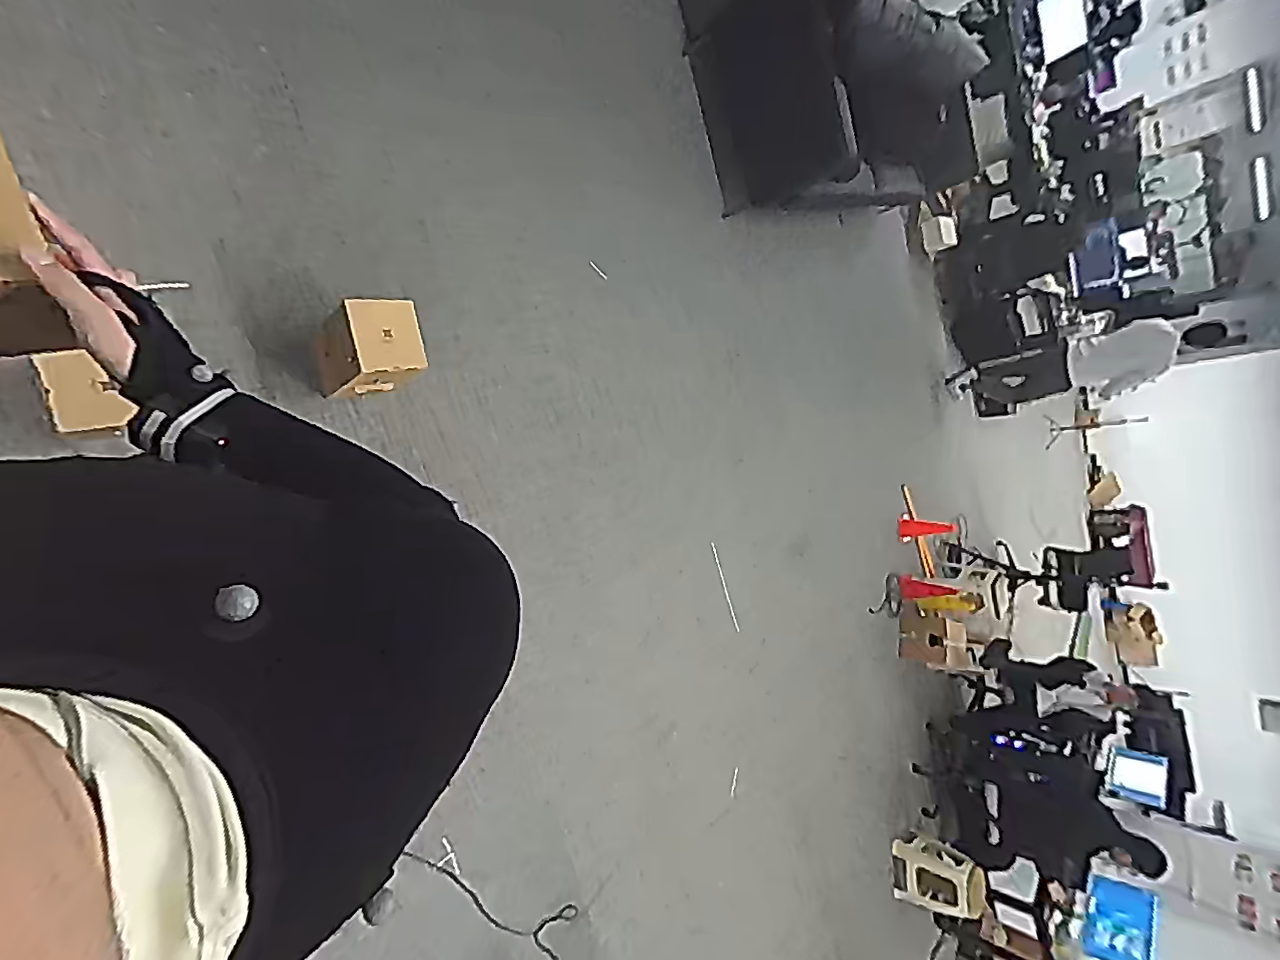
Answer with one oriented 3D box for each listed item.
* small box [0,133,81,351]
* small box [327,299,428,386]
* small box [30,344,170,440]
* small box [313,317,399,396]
[{"bbox_3d":[-0.587,-0.199,0.423,0.168,0.176,0.179,-24,100,-41],"label":"small box"},{"bbox_3d":[-0.672,-0.349,1.378,0.168,0.176,0.179,-17,98,-43],"label":"small box"},{"bbox_3d":[-1.139,-0.185,1.152,0.179,0.176,0.168,-18,99,-43],"label":"small box"},{"bbox_3d":[-0.786,-0.333,1.491,0.168,0.176,0.179,-9,93,-41],"label":"small box"}]
